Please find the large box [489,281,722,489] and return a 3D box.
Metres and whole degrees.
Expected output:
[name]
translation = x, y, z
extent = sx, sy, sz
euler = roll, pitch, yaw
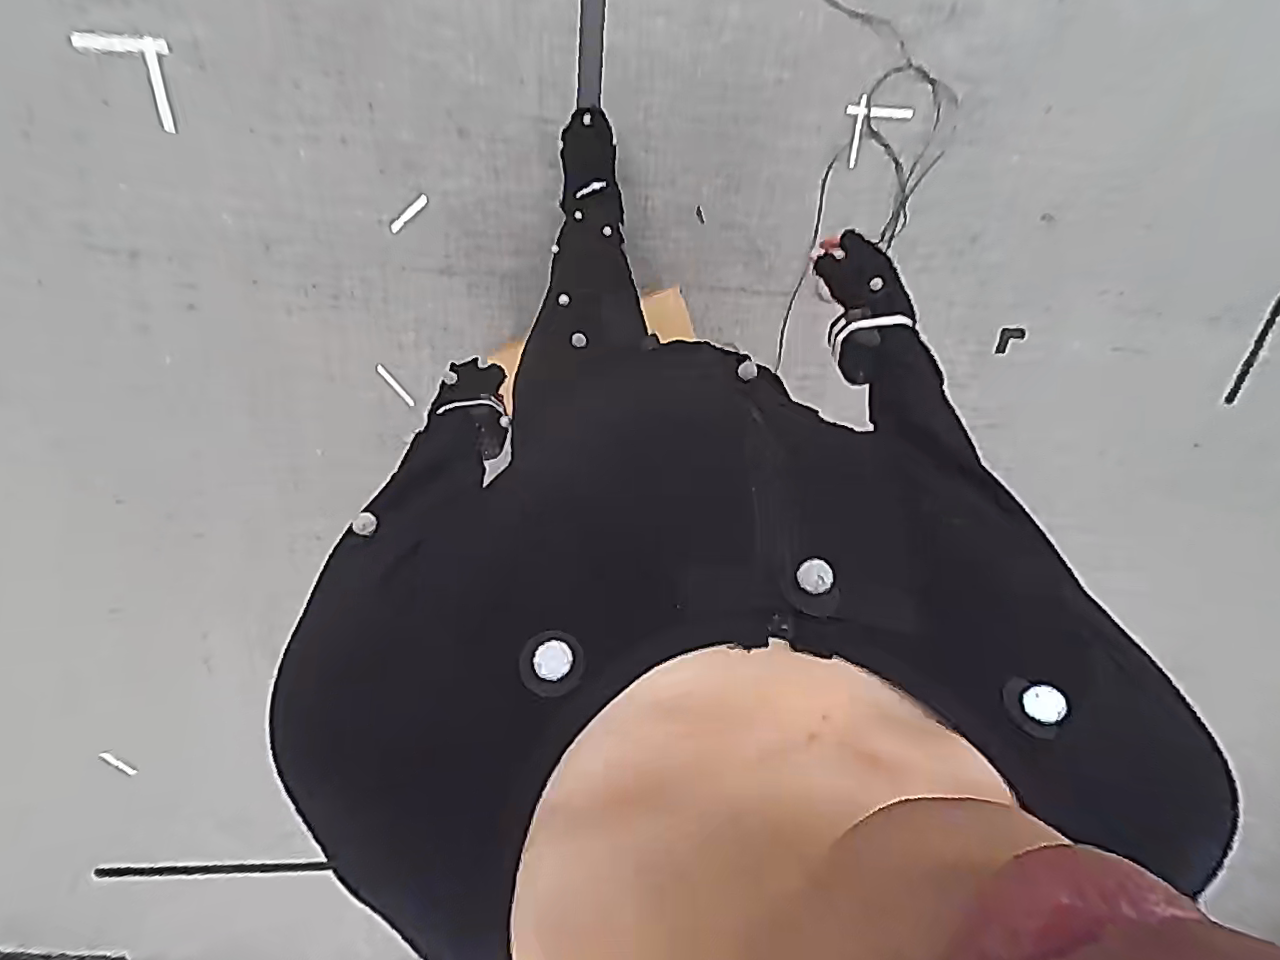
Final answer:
[large box]
translation = -0.075, -0.231, 1.239
extent = 0.408, 0.320, 0.320
euler = -20, 111, 2
